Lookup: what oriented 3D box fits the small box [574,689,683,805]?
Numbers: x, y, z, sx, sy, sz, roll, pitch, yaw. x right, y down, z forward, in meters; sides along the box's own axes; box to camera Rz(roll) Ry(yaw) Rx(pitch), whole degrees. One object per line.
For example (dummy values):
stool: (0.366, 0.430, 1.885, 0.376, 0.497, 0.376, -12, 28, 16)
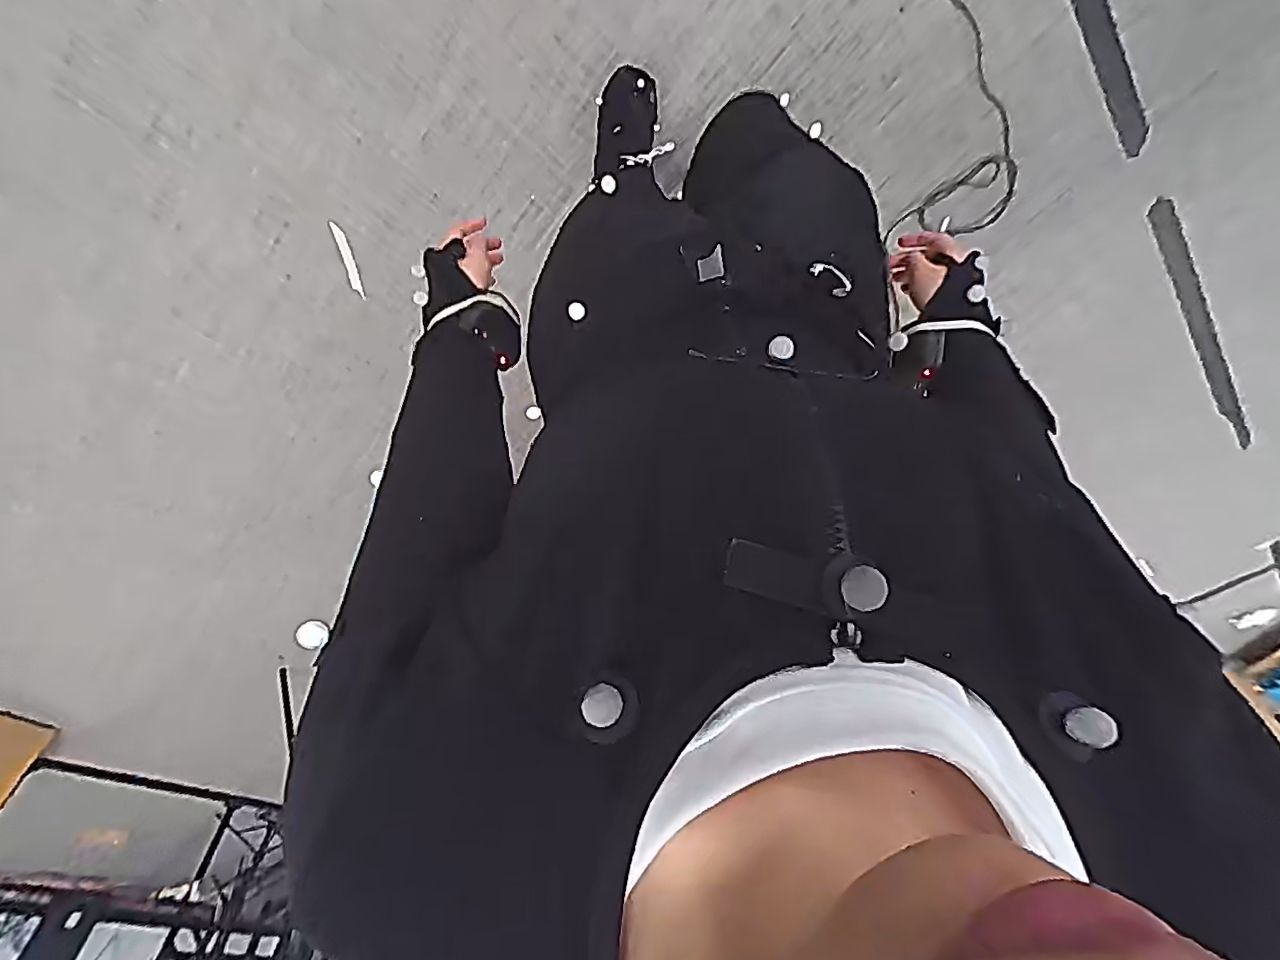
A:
small box: (-0.030, 0.590, 1.205, 0.168, 0.176, 0.179, -39, 124, 24)
